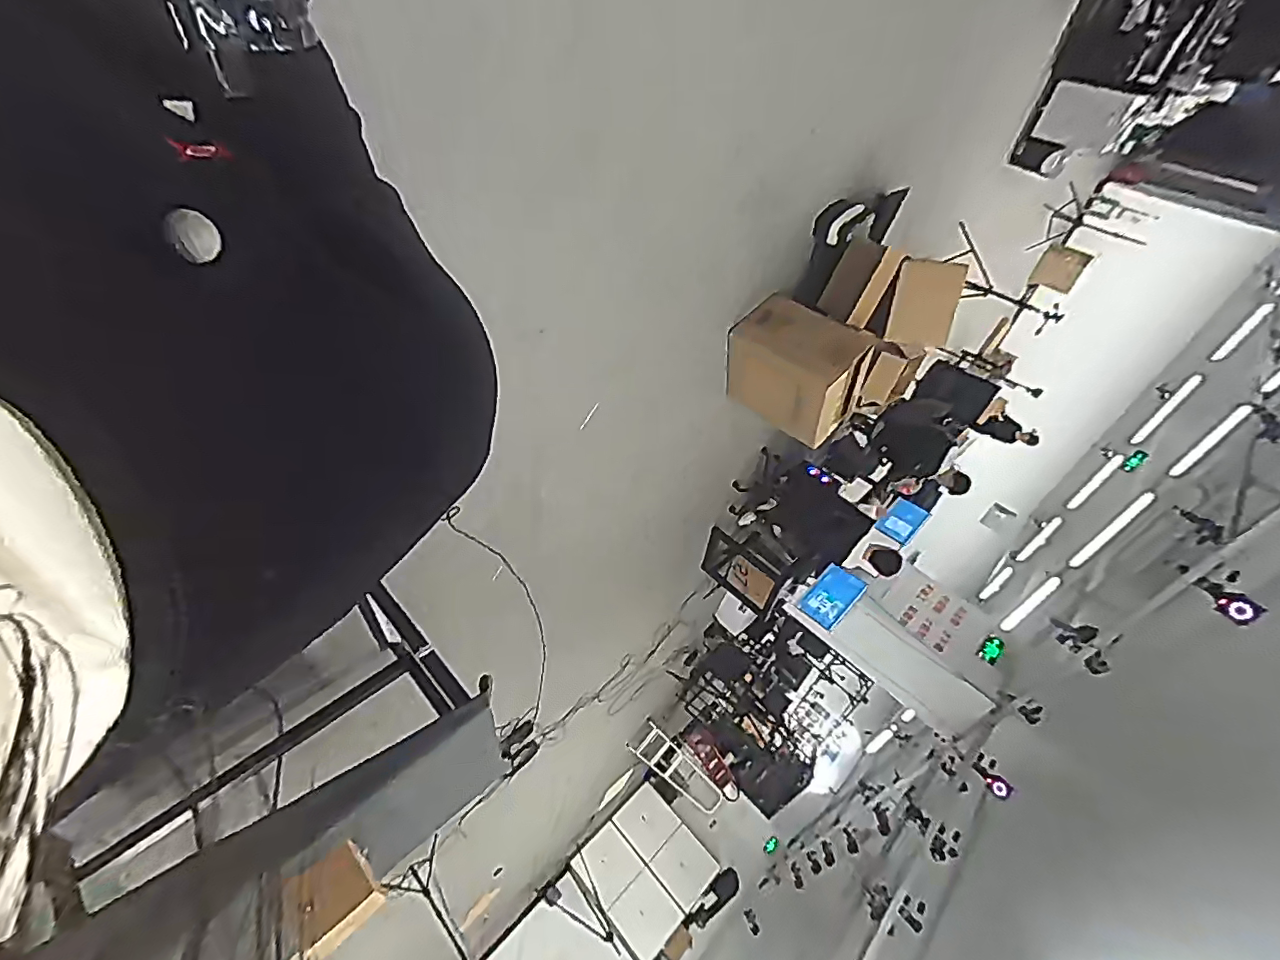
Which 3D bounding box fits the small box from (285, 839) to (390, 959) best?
[{"bbox_3d":[-0.793,1.095,1.416,0.179,0.176,0.168,-35,150,-34],"label":"small box"}]
